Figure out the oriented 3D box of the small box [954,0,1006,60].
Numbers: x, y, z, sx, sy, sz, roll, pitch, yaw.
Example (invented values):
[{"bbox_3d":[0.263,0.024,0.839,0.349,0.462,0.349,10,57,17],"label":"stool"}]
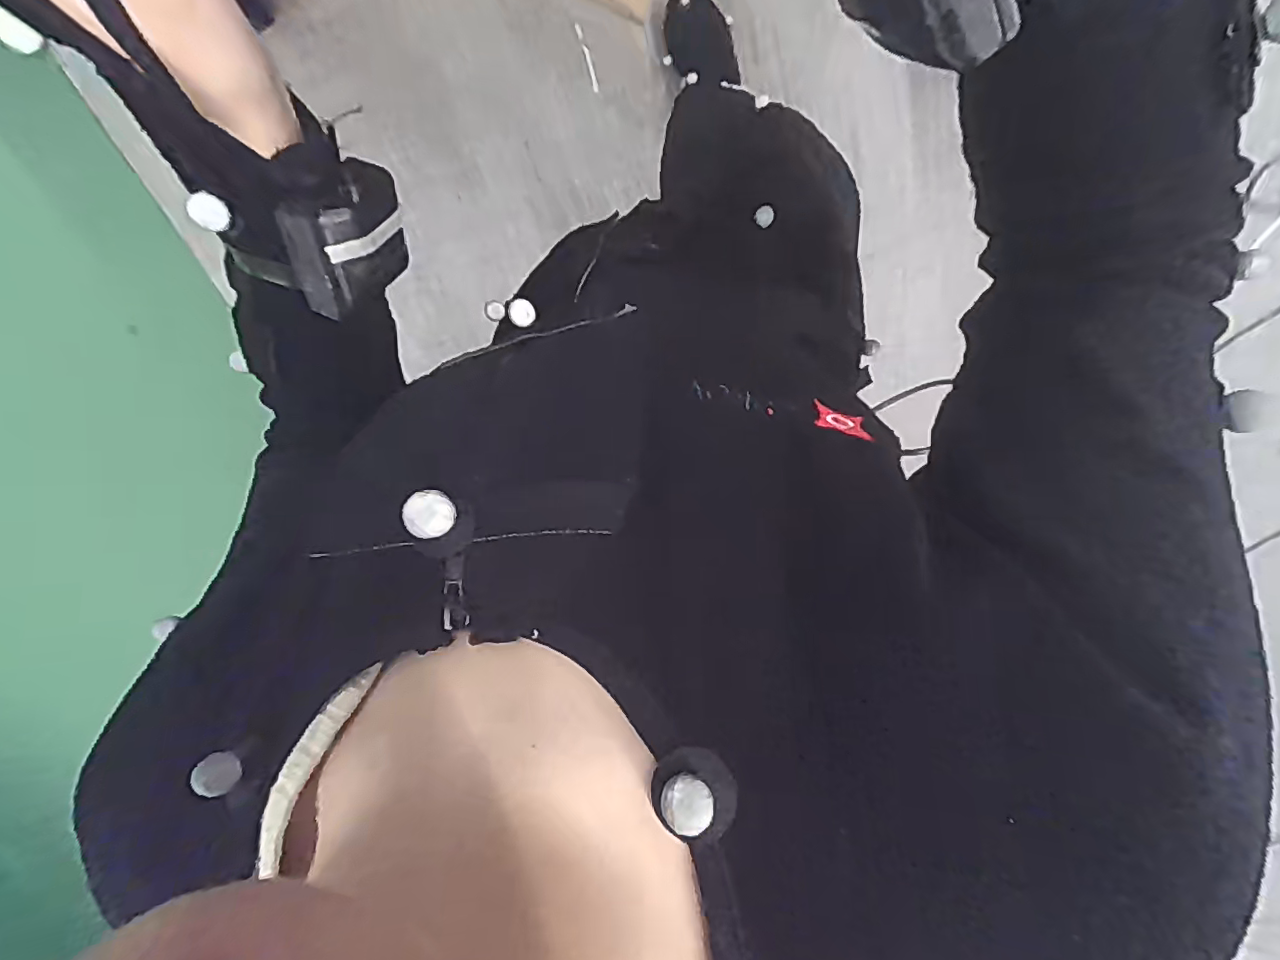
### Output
[{"bbox_3d":[0.629,-0.807,0.859,0.179,0.176,0.168,-14,117,12],"label":"small box"}]
